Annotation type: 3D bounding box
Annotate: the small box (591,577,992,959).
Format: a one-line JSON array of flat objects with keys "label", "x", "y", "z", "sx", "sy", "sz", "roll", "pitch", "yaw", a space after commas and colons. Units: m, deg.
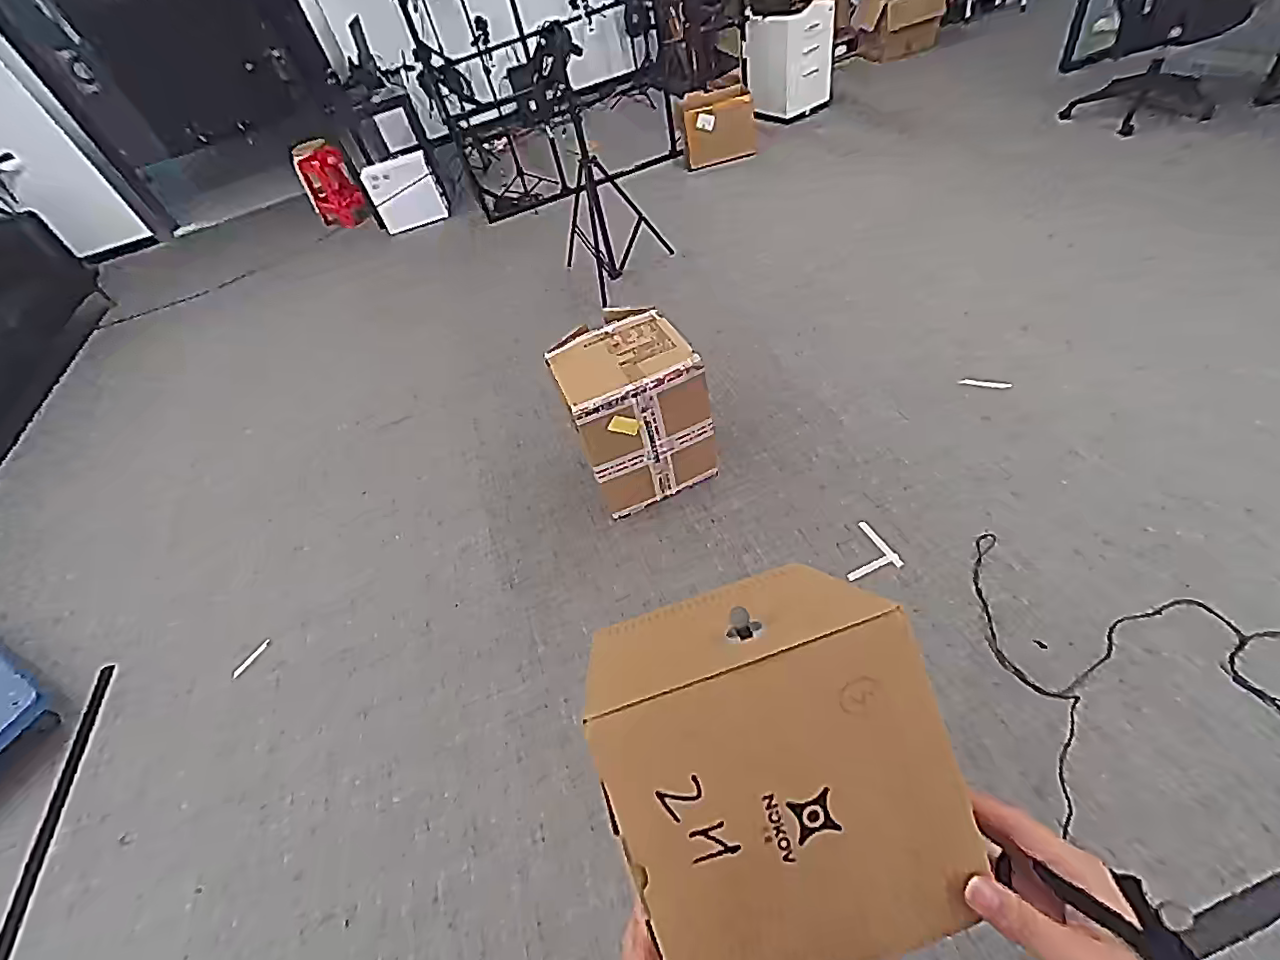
[{"label": "small box", "x": 0.075, "y": 0.174, "z": 0.357, "sx": 0.179, "sy": 0.176, "sz": 0.168, "roll": -18, "pitch": 89, "yaw": -3}]
